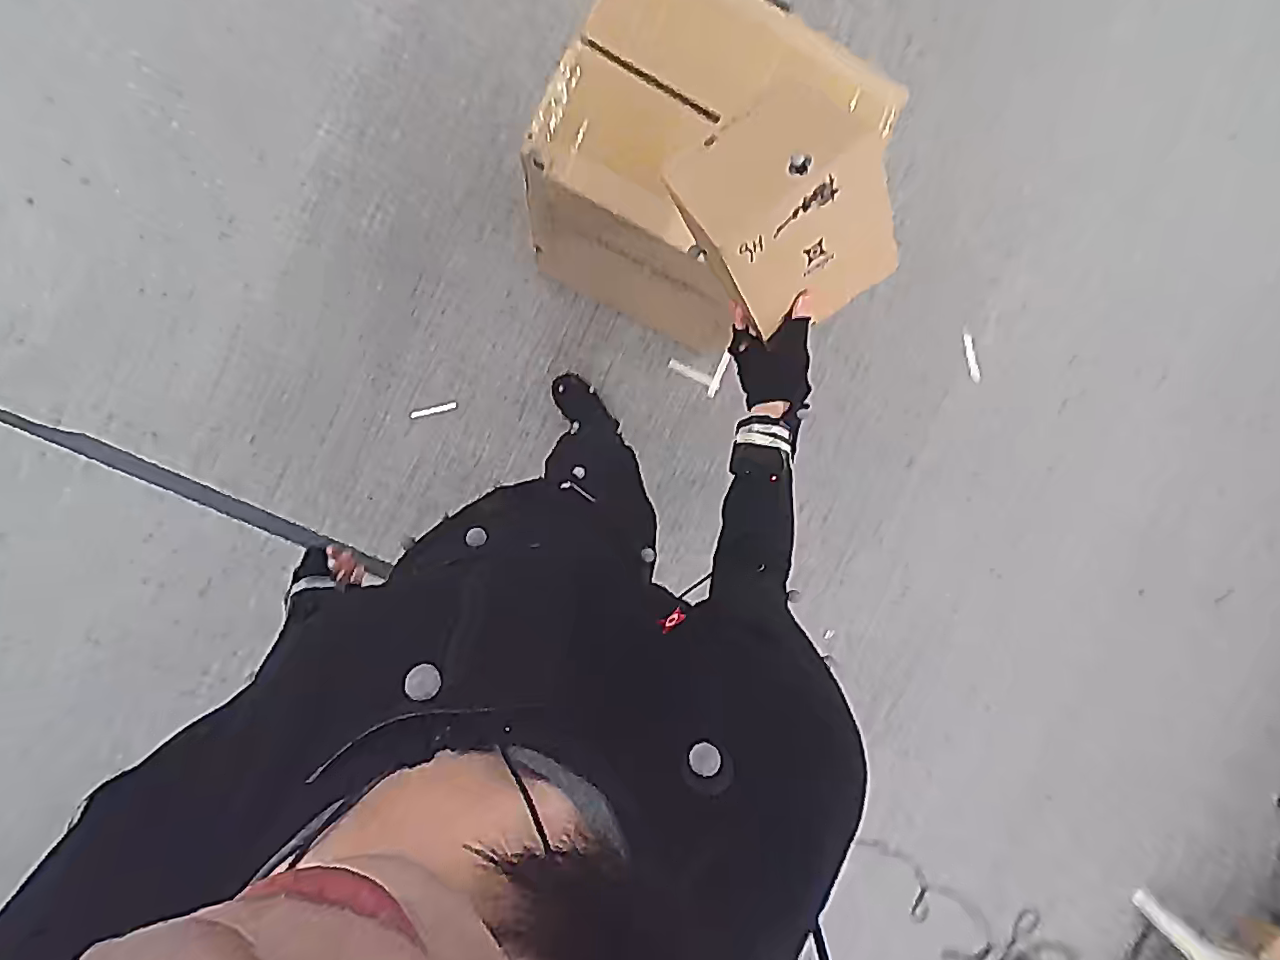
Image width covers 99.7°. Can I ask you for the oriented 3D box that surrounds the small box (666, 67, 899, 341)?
[{"bbox_3d":[0.155,-0.297,0.595,0.168,0.176,0.179,-33,144,13],"label":"small box"}]
